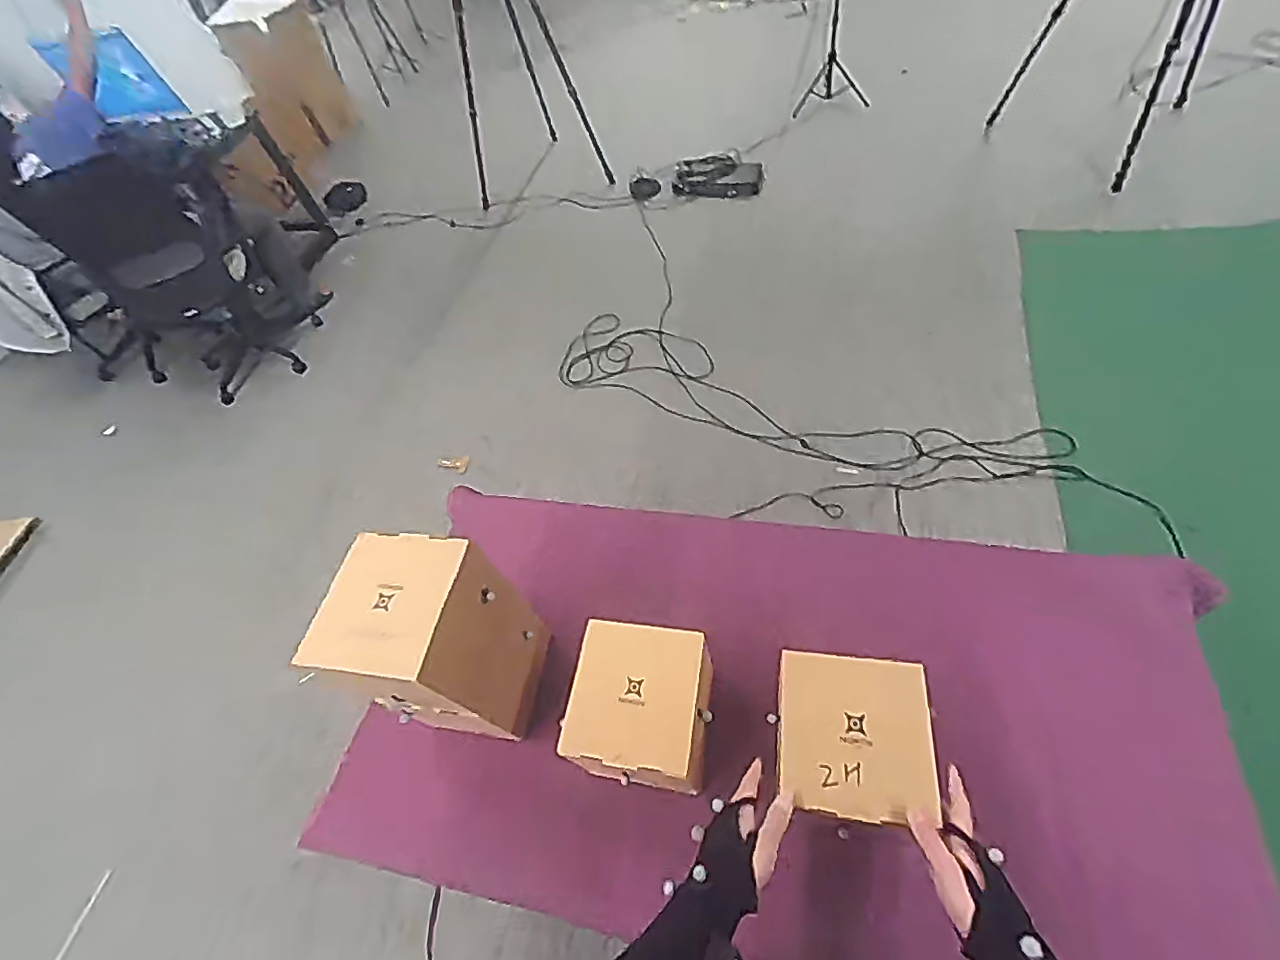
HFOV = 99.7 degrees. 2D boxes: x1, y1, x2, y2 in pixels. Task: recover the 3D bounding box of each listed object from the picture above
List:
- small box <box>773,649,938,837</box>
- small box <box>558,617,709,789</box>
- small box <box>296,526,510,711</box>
[{"bbox_3d":[0.259,0.337,0.689,0.168,0.176,0.179,3,57,14],"label":"small box"},{"bbox_3d":[0.005,0.314,0.760,0.168,0.176,0.179,4,57,14],"label":"small box"},{"bbox_3d":[-0.288,0.182,0.707,0.168,0.176,0.179,3,56,14],"label":"small box"}]
